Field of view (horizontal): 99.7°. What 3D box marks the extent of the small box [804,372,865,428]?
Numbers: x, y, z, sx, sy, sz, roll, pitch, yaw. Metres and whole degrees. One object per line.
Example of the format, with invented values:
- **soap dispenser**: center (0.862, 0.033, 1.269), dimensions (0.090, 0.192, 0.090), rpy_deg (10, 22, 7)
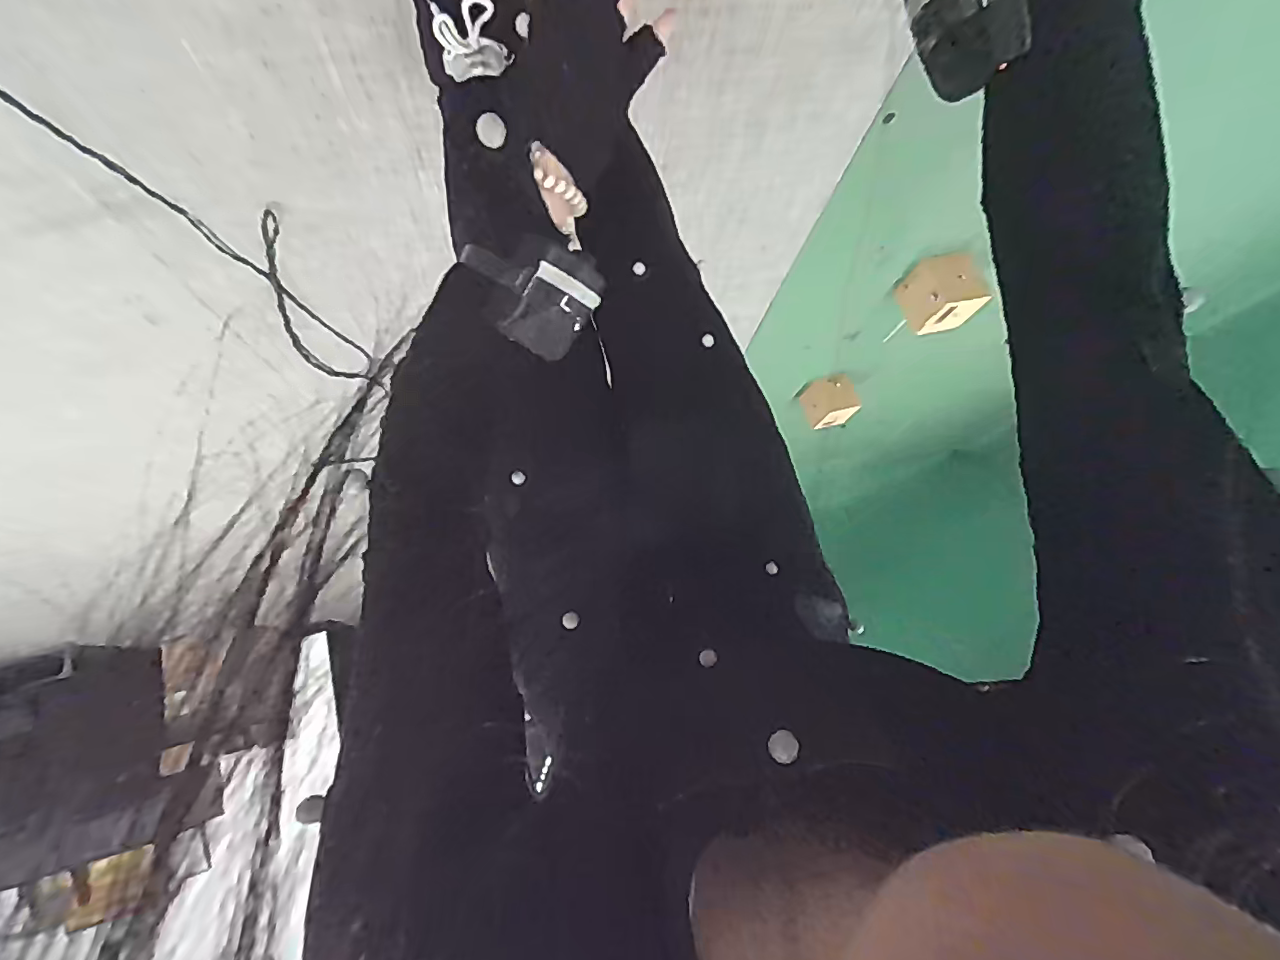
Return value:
- **small box**: center (0.845, -0.351, 2.375), dimensions (0.168, 0.176, 0.179), rpy_deg (-14, 163, -13)
